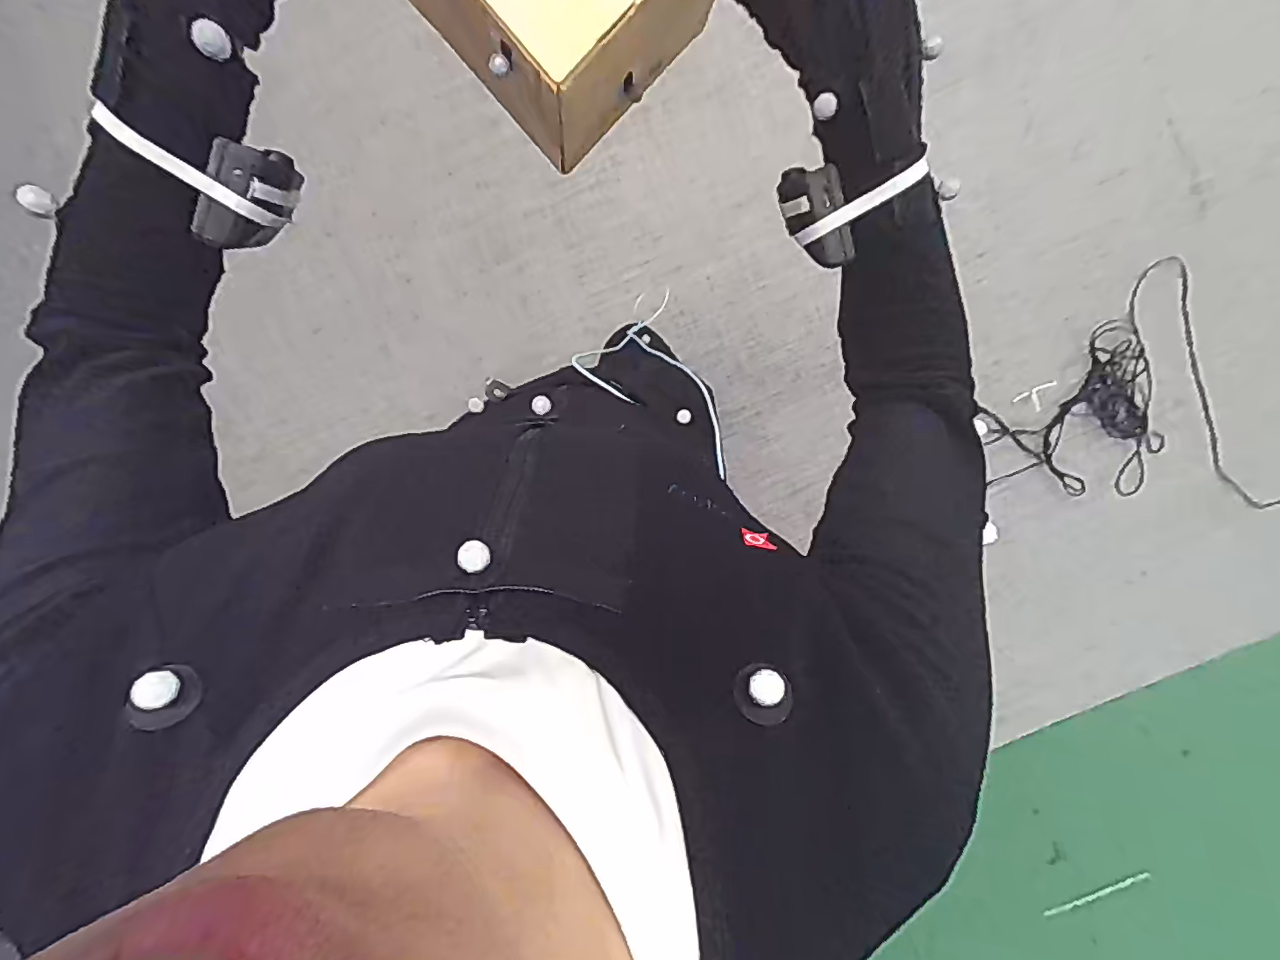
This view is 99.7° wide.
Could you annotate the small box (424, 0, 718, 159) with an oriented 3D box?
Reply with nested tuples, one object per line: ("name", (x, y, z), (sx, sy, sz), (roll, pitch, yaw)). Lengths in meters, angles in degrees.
("small box", (-0.051, -0.356, 0.354), (0.168, 0.176, 0.179), (-43, 106, 5))
